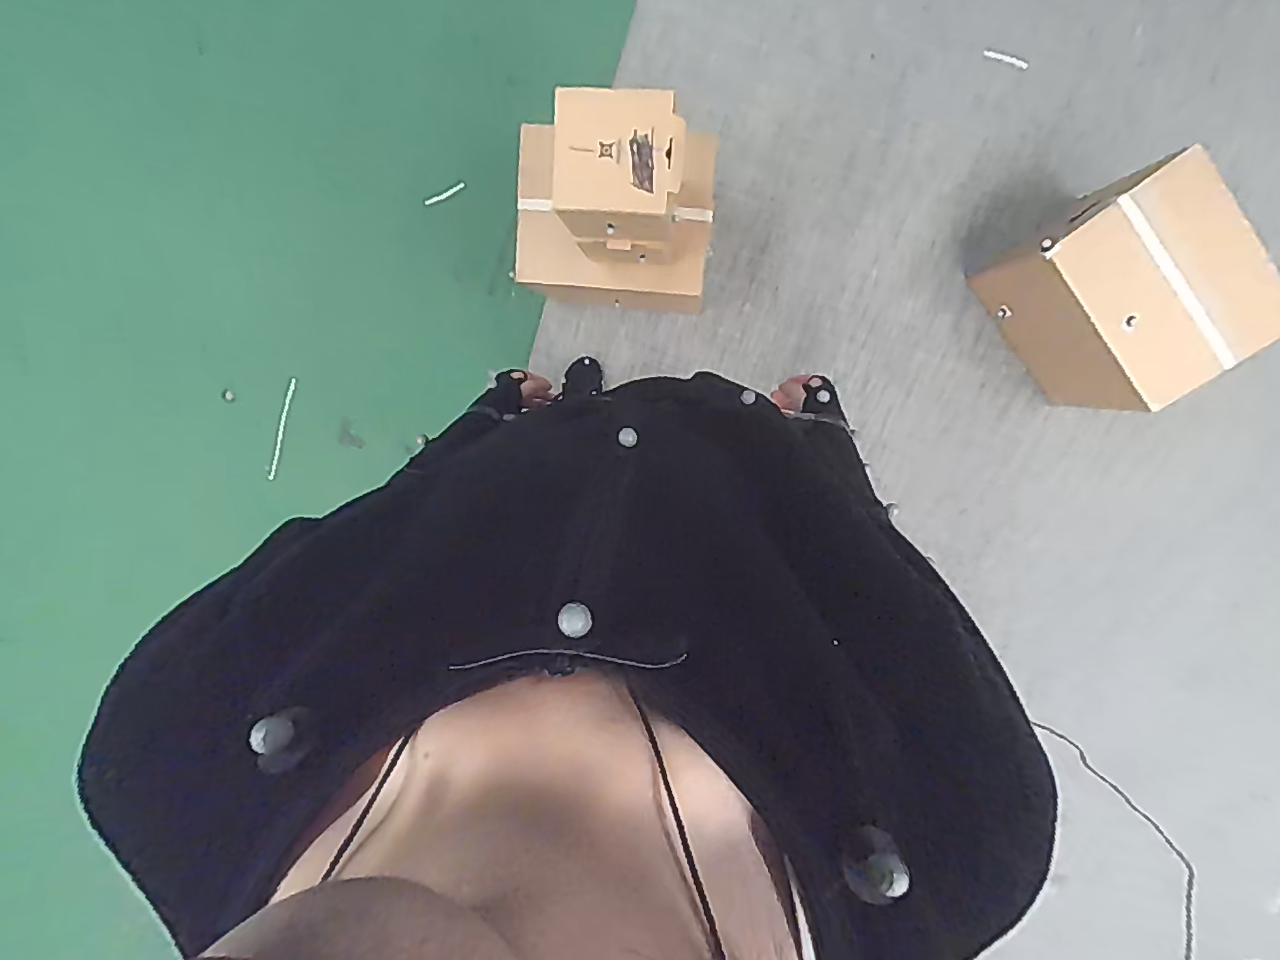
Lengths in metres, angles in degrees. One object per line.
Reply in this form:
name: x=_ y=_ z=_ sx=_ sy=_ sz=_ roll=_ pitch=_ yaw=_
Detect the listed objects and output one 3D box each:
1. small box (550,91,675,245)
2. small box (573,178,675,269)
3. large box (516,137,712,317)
small box: x=-0.036 y=-0.483 z=0.861 sx=0.179 sy=0.176 sz=0.168 roll=5 pitch=100 yaw=5
small box: x=-0.025 y=-0.508 z=1.023 sx=0.168 sy=0.176 sz=0.179 roll=6 pitch=100 yaw=4
large box: x=-0.043 y=-0.565 z=1.264 sx=0.408 sy=0.320 sz=0.320 roll=5 pitch=99 yaw=6
